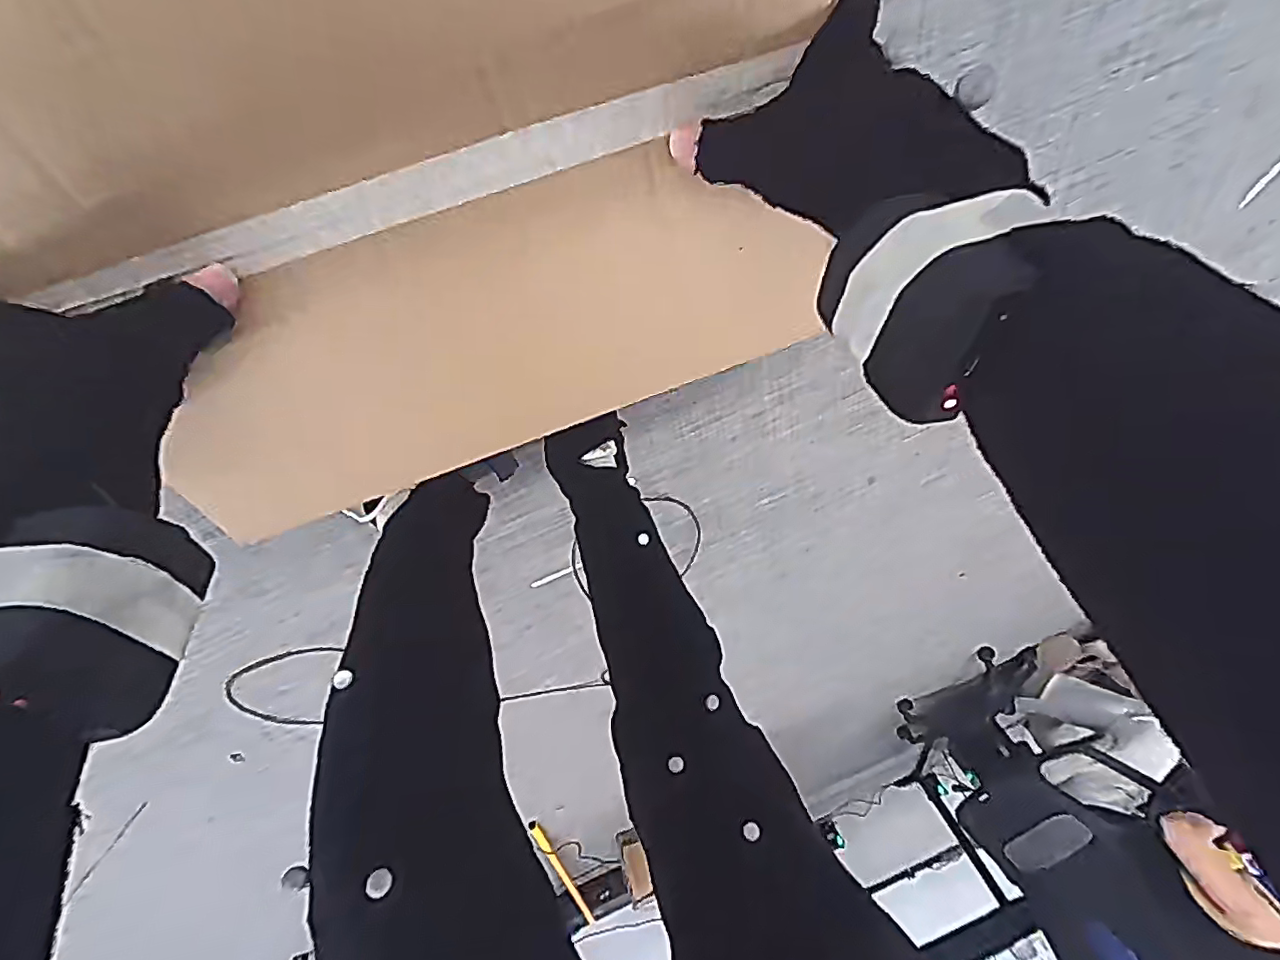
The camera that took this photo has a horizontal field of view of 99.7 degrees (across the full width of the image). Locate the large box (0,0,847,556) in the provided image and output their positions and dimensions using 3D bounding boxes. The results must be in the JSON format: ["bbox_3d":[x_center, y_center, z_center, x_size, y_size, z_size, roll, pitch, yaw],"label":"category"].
[{"bbox_3d":[-0.132,-0.219,0.361,0.408,0.320,0.320,-21,137,-5],"label":"large box"}]
